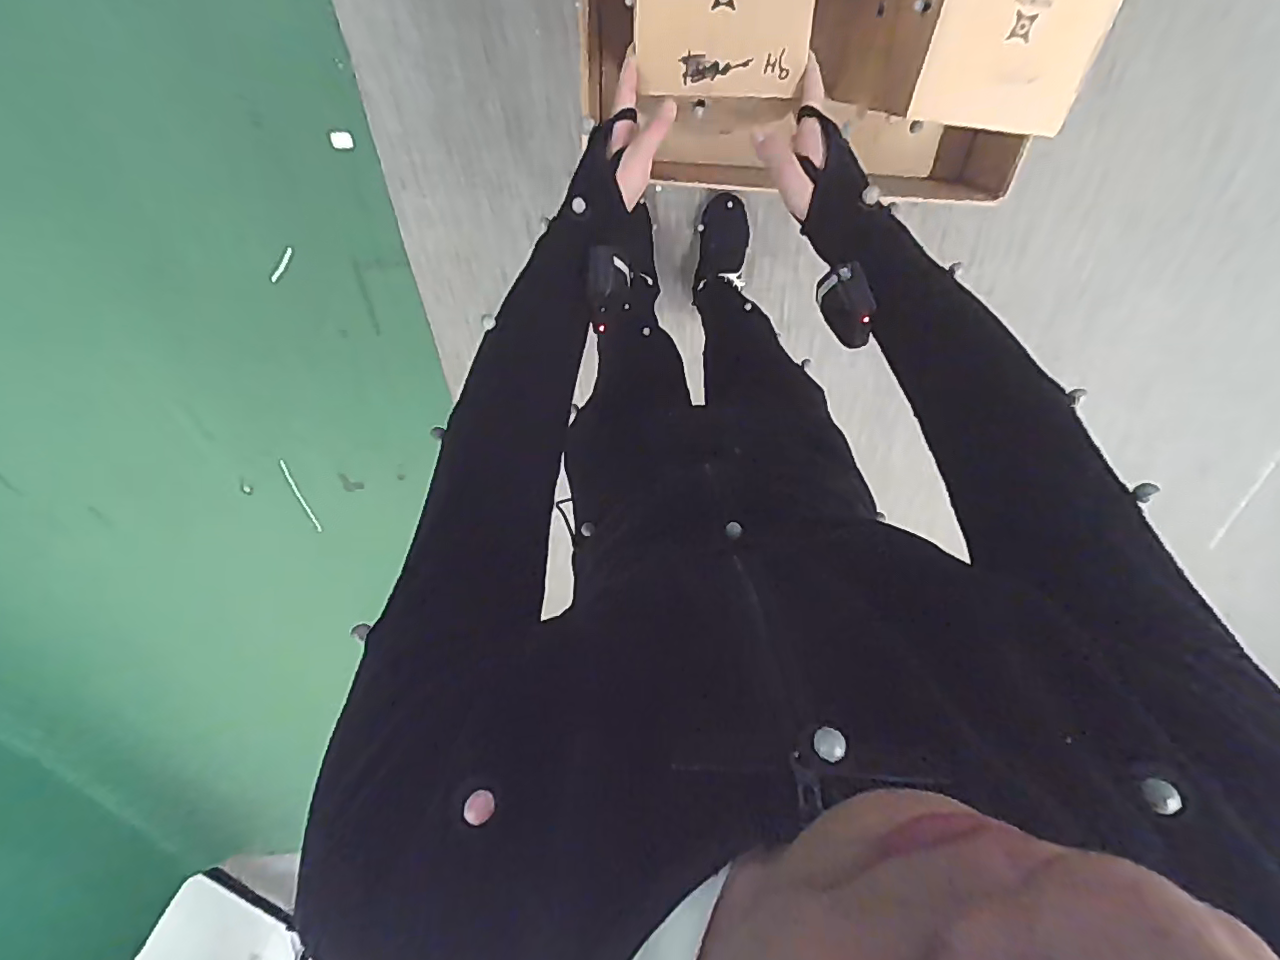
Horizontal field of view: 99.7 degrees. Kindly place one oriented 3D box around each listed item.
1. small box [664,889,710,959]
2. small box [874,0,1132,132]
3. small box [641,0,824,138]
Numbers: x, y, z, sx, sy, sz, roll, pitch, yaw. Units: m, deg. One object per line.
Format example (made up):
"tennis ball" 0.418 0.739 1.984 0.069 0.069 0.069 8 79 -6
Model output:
"small box" 0.179 1.675 2.040 0.168 0.176 0.179 -4 126 5
"small box" 0.374 -0.486 0.571 0.168 0.176 0.179 6 127 -2
"small box" 0.088 -0.478 0.557 0.168 0.176 0.179 3 110 2
